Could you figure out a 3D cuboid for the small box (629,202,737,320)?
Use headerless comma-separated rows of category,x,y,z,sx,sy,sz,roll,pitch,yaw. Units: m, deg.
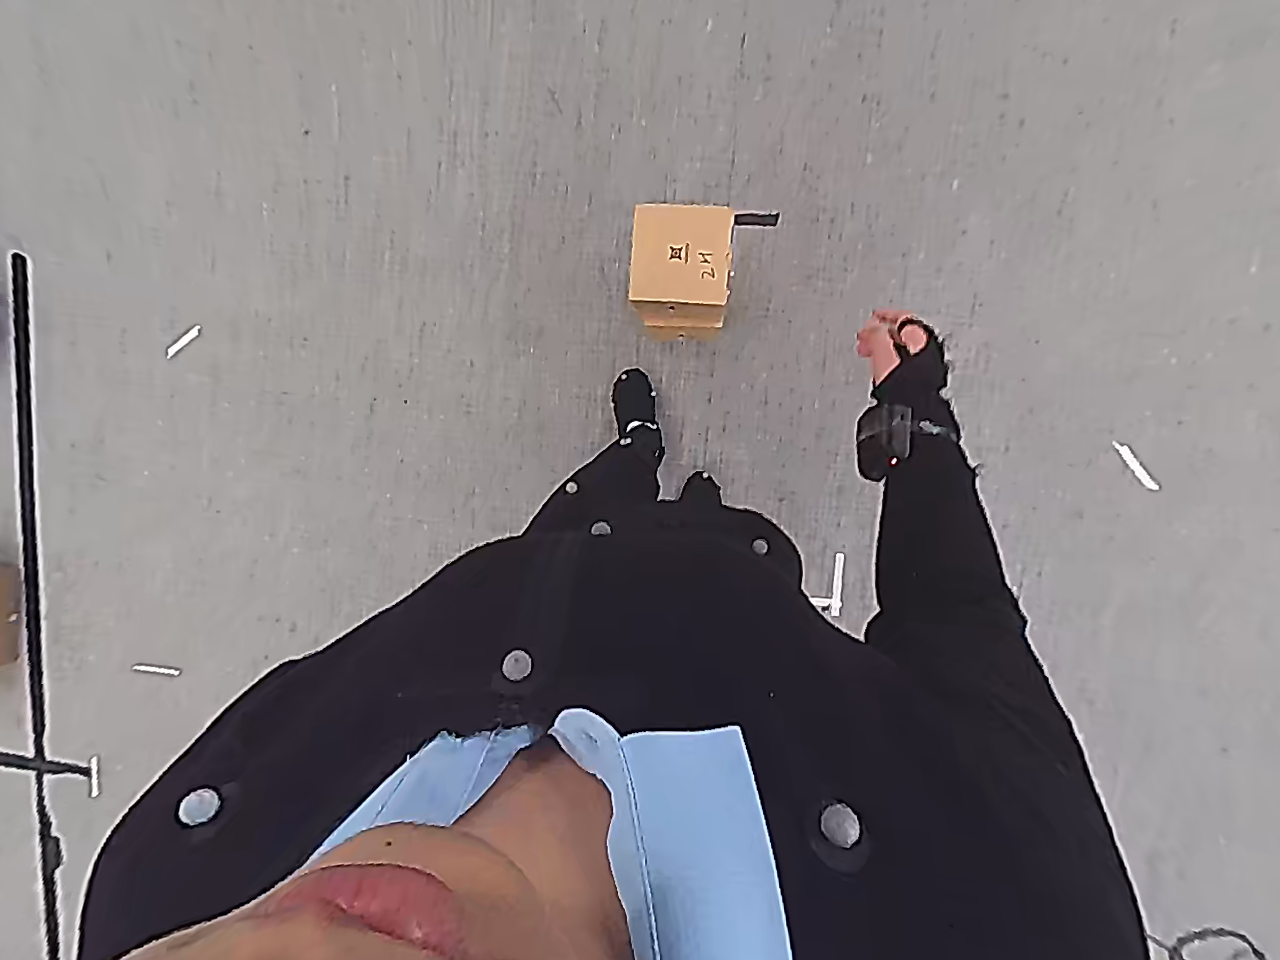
small box,0.080,-0.401,1.014,0.179,0.176,0.168,5,98,4

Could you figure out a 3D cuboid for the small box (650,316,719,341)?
small box,0.110,-0.448,1.339,0.168,0.176,0.179,0,96,5
